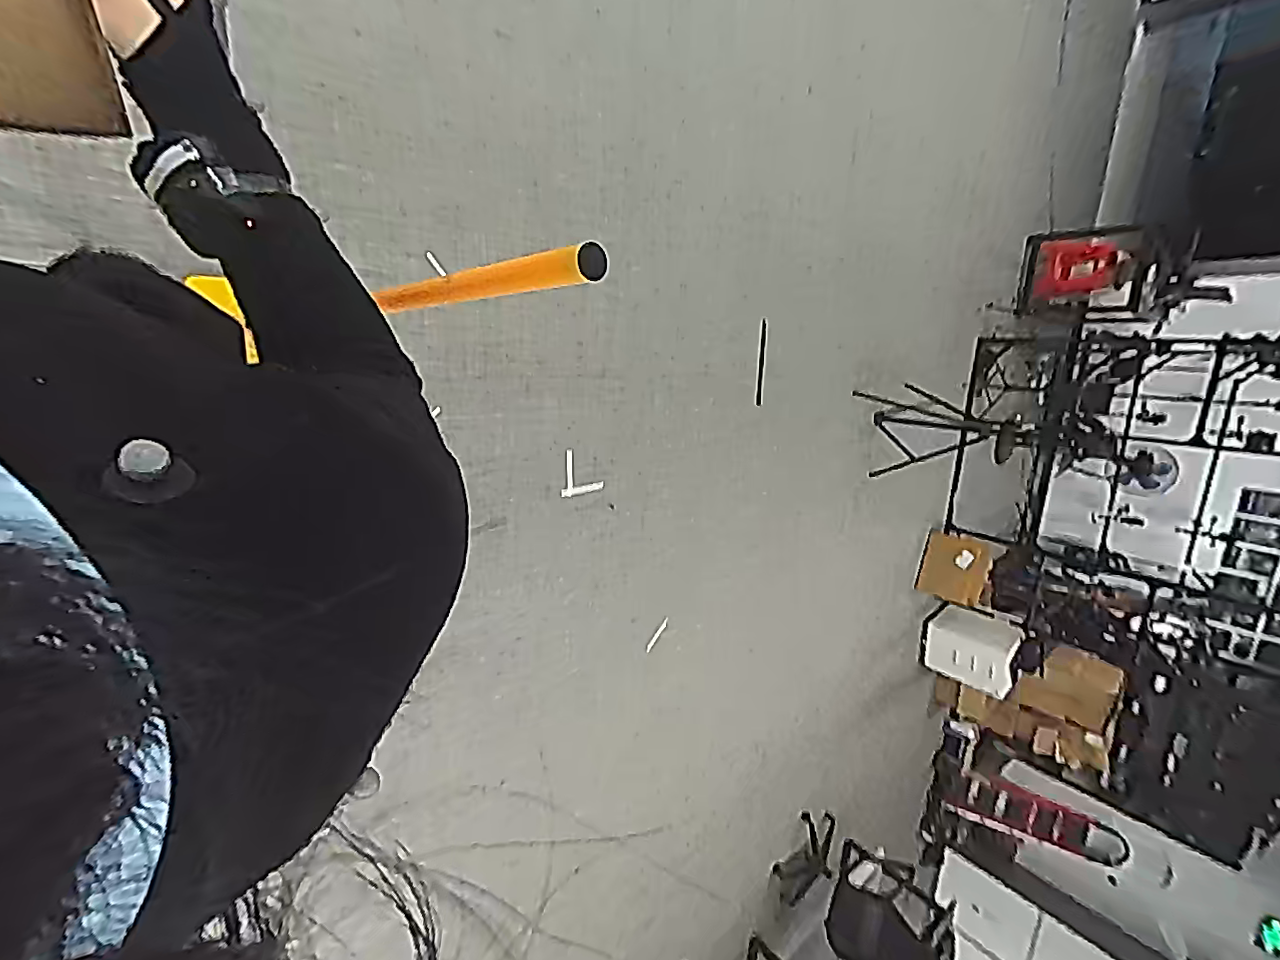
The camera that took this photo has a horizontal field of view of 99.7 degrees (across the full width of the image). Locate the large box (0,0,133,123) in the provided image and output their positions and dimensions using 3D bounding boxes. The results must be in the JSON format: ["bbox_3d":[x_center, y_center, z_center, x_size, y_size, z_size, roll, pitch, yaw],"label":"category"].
[{"bbox_3d":[-0.605,-0.403,0.296,0.408,0.320,0.320,-20,126,-40],"label":"large box"}]
